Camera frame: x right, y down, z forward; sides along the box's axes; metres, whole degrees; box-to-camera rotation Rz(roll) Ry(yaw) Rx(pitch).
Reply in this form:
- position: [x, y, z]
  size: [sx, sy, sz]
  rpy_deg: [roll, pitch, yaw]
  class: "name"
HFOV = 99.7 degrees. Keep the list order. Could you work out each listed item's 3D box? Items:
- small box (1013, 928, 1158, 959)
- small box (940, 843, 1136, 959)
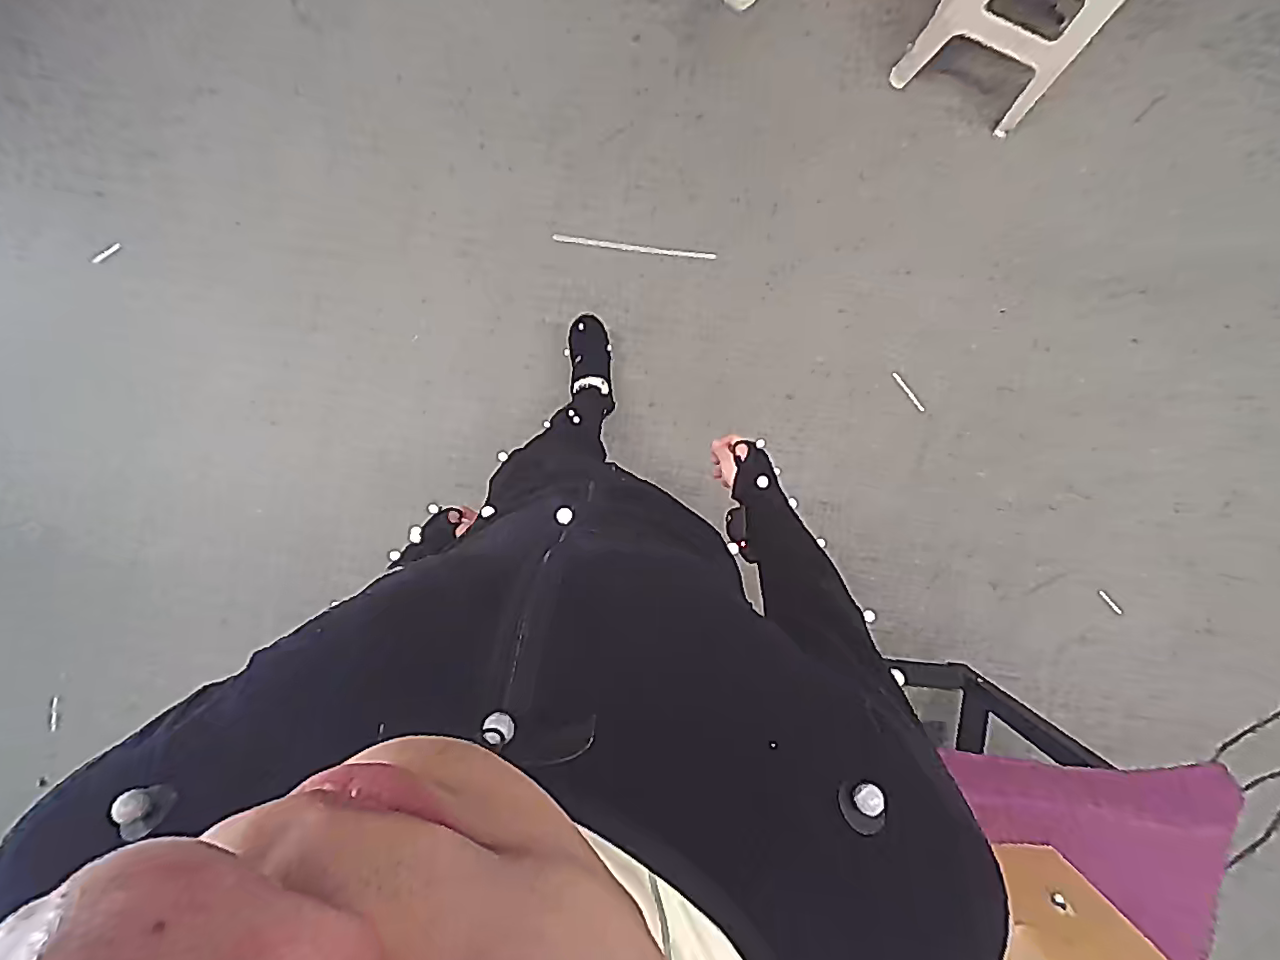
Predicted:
- position: [0.598, 0.711, 0.679]
  size: [0.179, 0.176, 0.168]
  rpy_deg: [3, 92, 0]
  class: "small box"
- position: [0.604, 0.703, 0.841]
  size: [0.179, 0.176, 0.168]
  rpy_deg: [3, 93, 1]
  class: "small box"
